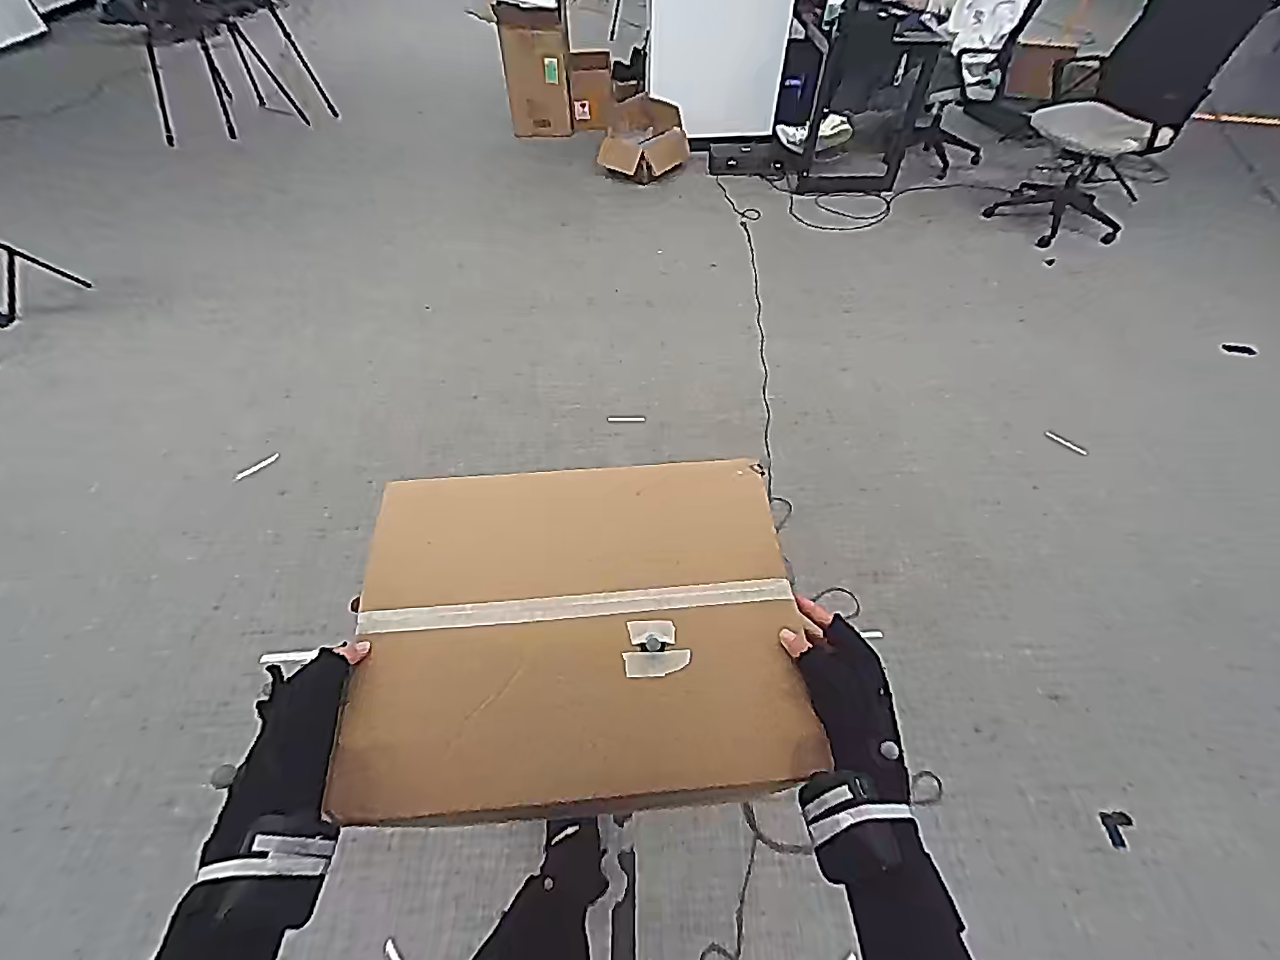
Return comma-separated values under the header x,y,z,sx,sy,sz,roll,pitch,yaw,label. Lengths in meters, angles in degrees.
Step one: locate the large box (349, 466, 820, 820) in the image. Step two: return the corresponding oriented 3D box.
x,y,z,sx,sy,sz,roll,pitch,yaw,label
-0.058,0.207,0.654,0.408,0.320,0.320,-3,58,-3,large box
